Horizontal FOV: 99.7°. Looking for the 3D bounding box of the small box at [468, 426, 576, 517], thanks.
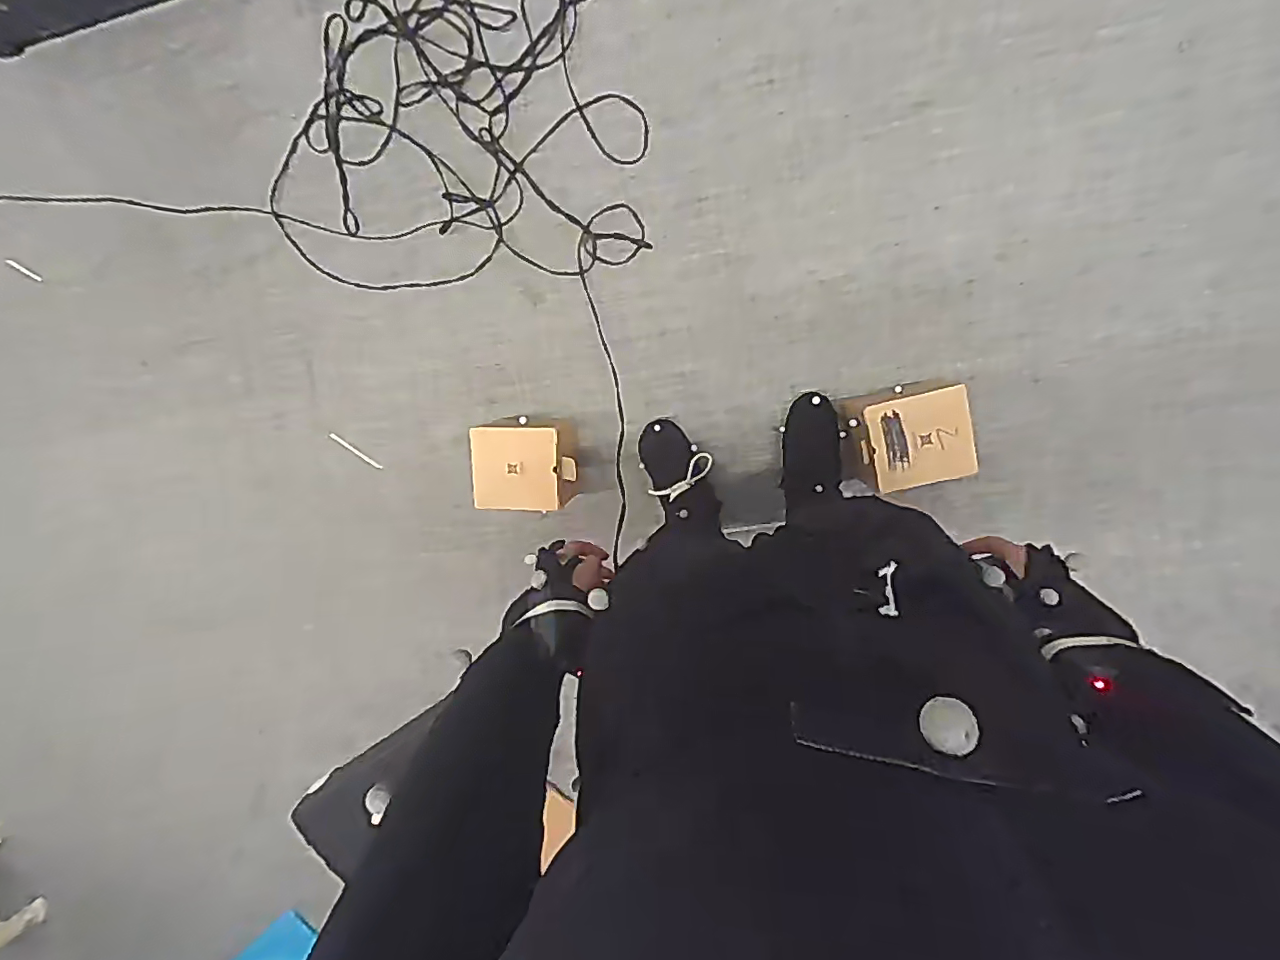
[{"bbox_3d":[-0.239,-0.023,1.129,0.179,0.176,0.168,1,101,5],"label":"small box"}]
